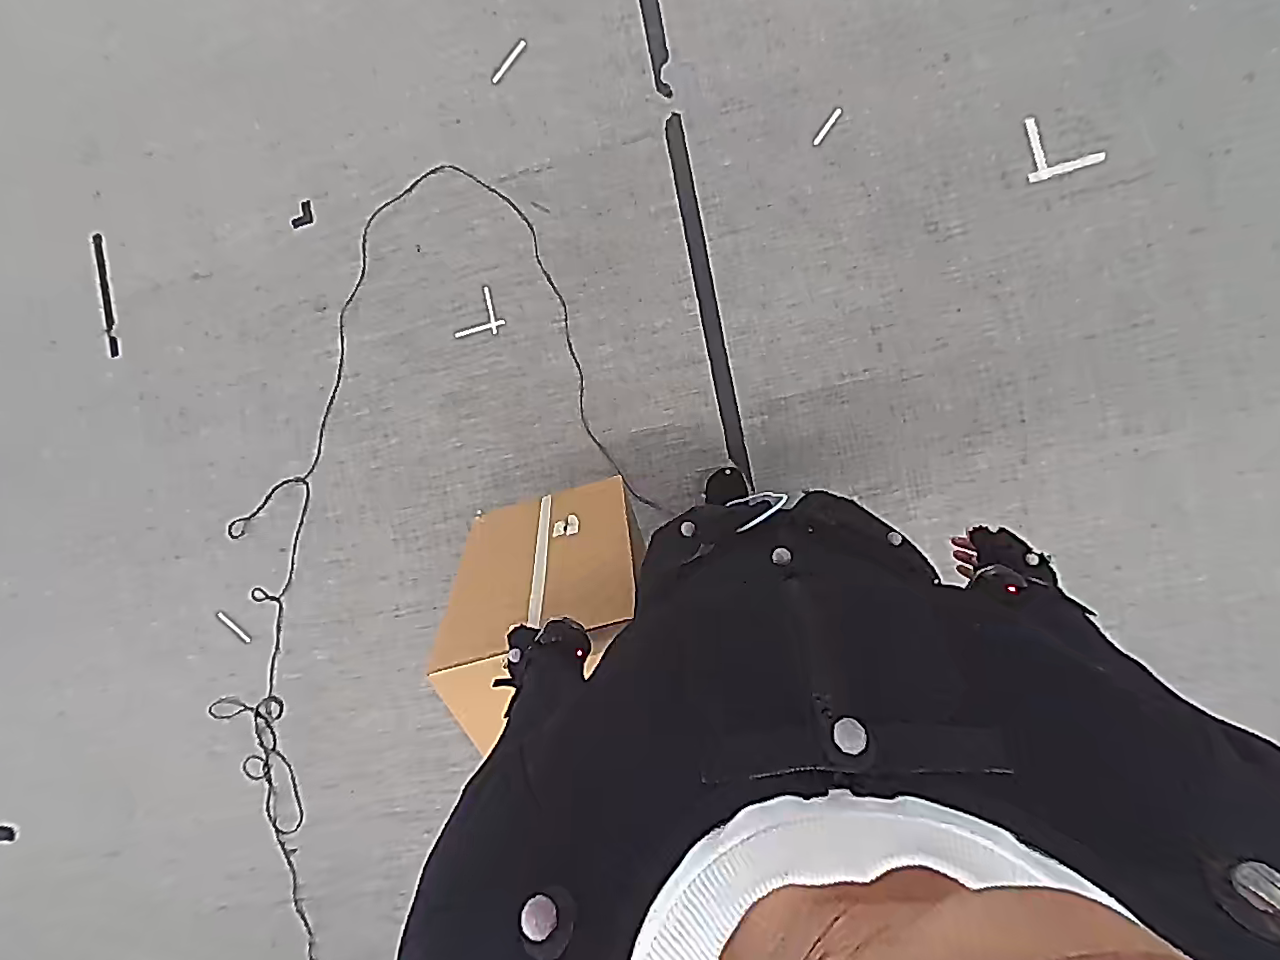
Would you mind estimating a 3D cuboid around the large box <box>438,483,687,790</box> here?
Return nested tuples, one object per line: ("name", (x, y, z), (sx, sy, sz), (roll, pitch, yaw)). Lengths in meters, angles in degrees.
("large box", (-0.123, 0.265, 0.999), (0.320, 0.408, 0.320), (-15, 119, 2))
